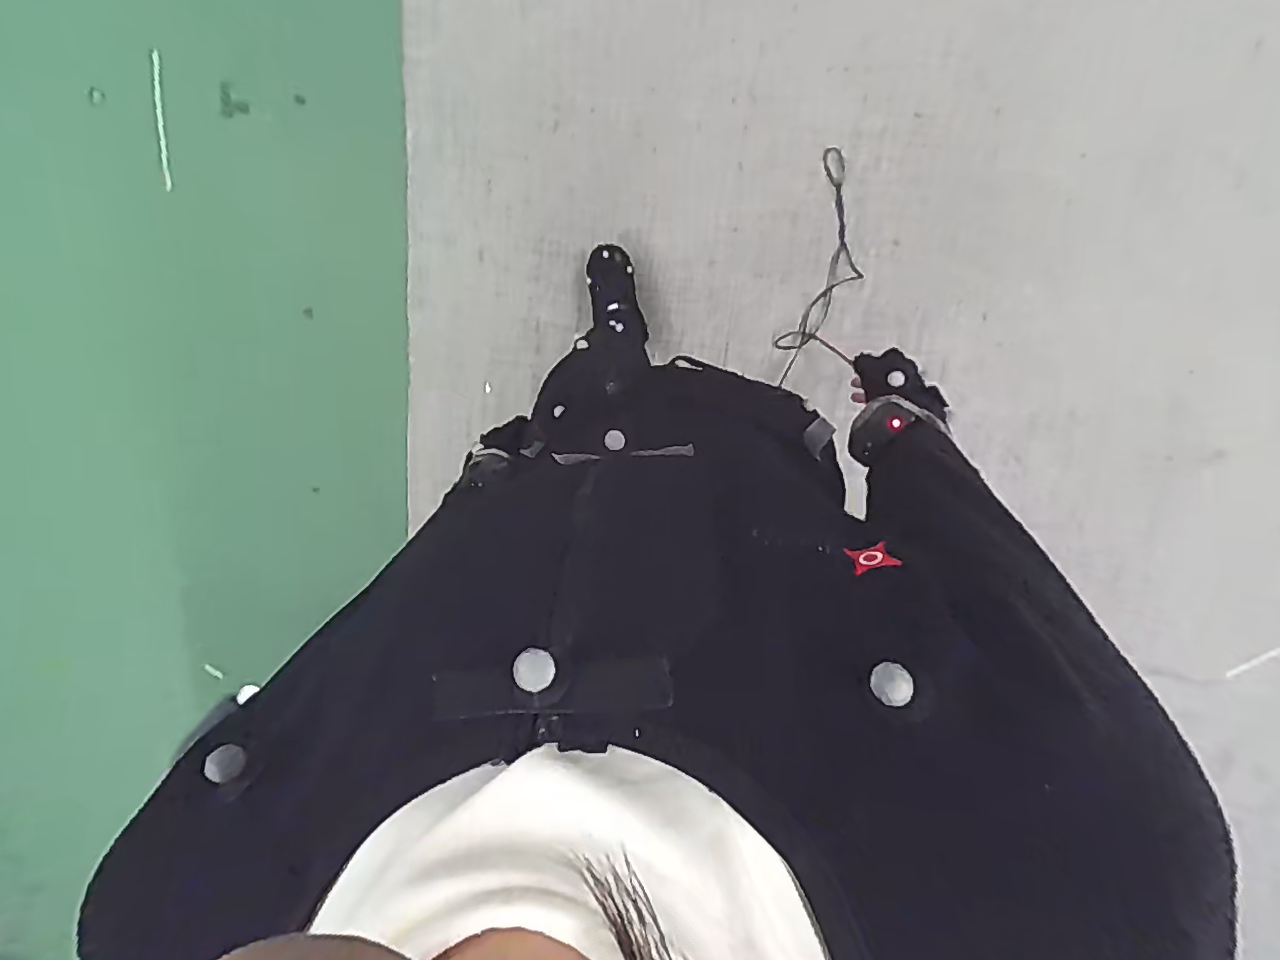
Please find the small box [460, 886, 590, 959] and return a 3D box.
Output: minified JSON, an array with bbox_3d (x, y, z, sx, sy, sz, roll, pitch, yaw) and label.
[{"bbox_3d":[-0.185,0.779,0.839,0.179,0.176,0.168,7,106,5],"label":"small box"}]
